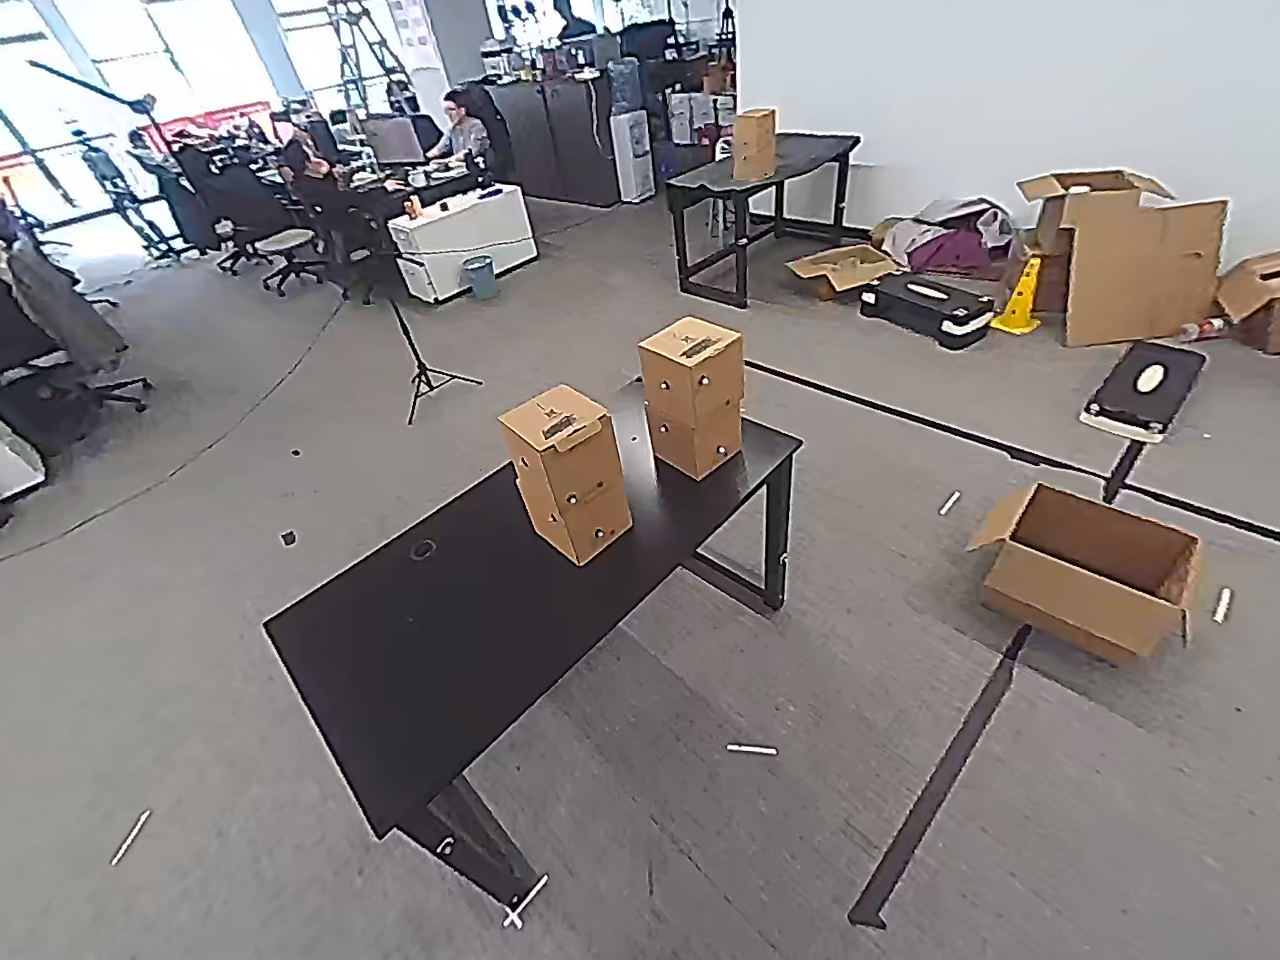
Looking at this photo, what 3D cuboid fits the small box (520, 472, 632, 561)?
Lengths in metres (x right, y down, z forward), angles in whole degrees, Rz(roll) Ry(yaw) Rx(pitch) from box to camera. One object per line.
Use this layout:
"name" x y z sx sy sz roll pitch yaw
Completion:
"small box" -0.140 0.051 1.227 0.168 0.176 0.179 -37 48 -27

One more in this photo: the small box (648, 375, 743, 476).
"small box" 0.144 -0.137 1.372 0.168 0.176 0.179 -35 47 -23

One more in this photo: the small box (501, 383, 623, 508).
"small box" -0.155 -0.067 1.113 0.168 0.176 0.179 -33 46 -24
